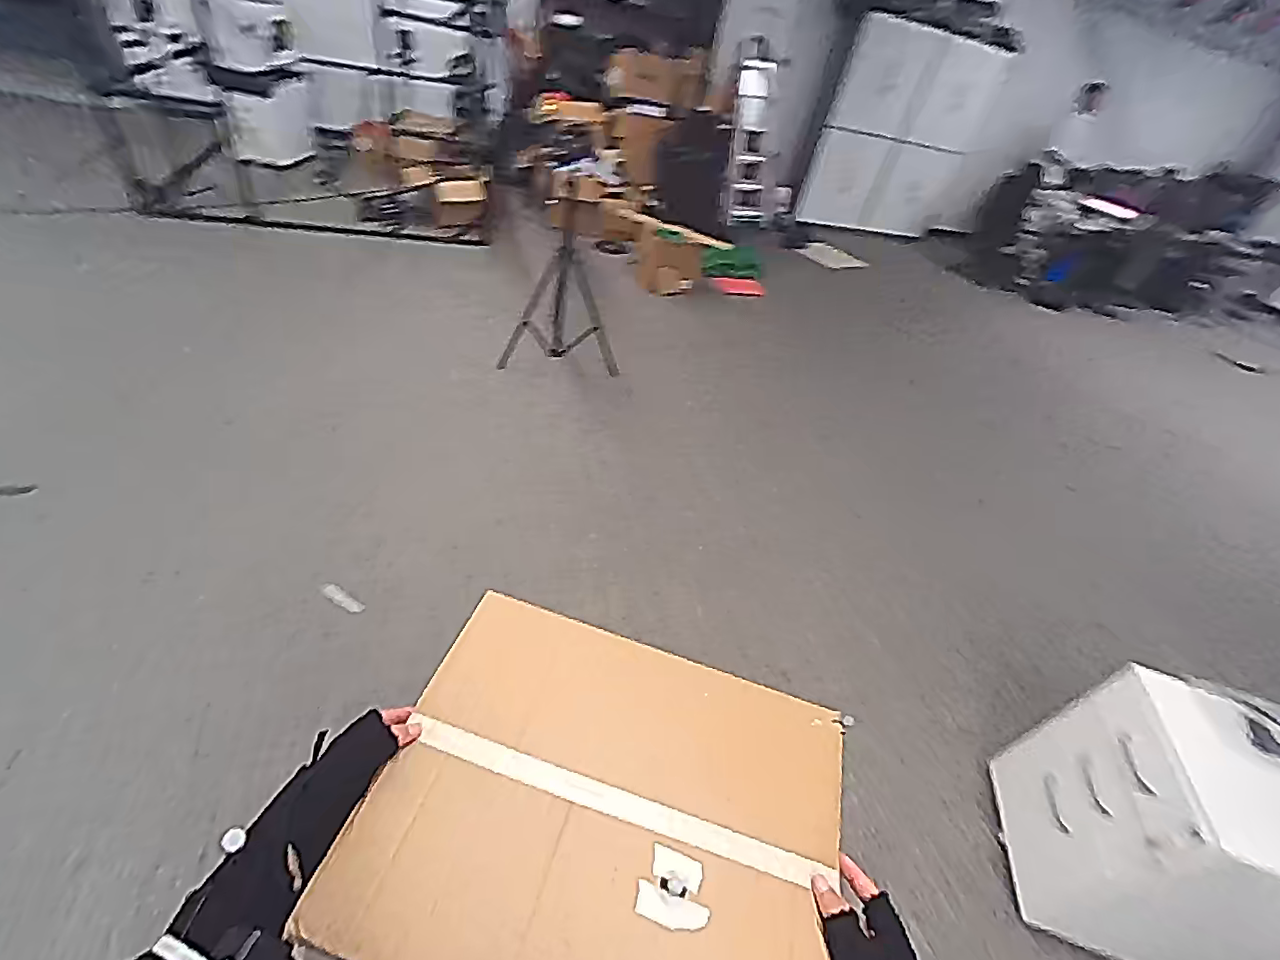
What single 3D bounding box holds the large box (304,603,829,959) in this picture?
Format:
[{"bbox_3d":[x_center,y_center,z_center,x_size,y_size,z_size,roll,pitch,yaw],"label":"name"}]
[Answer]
[{"bbox_3d":[-0.050,0.396,0.592,0.408,0.320,0.320,18,45,4],"label":"large box"}]
